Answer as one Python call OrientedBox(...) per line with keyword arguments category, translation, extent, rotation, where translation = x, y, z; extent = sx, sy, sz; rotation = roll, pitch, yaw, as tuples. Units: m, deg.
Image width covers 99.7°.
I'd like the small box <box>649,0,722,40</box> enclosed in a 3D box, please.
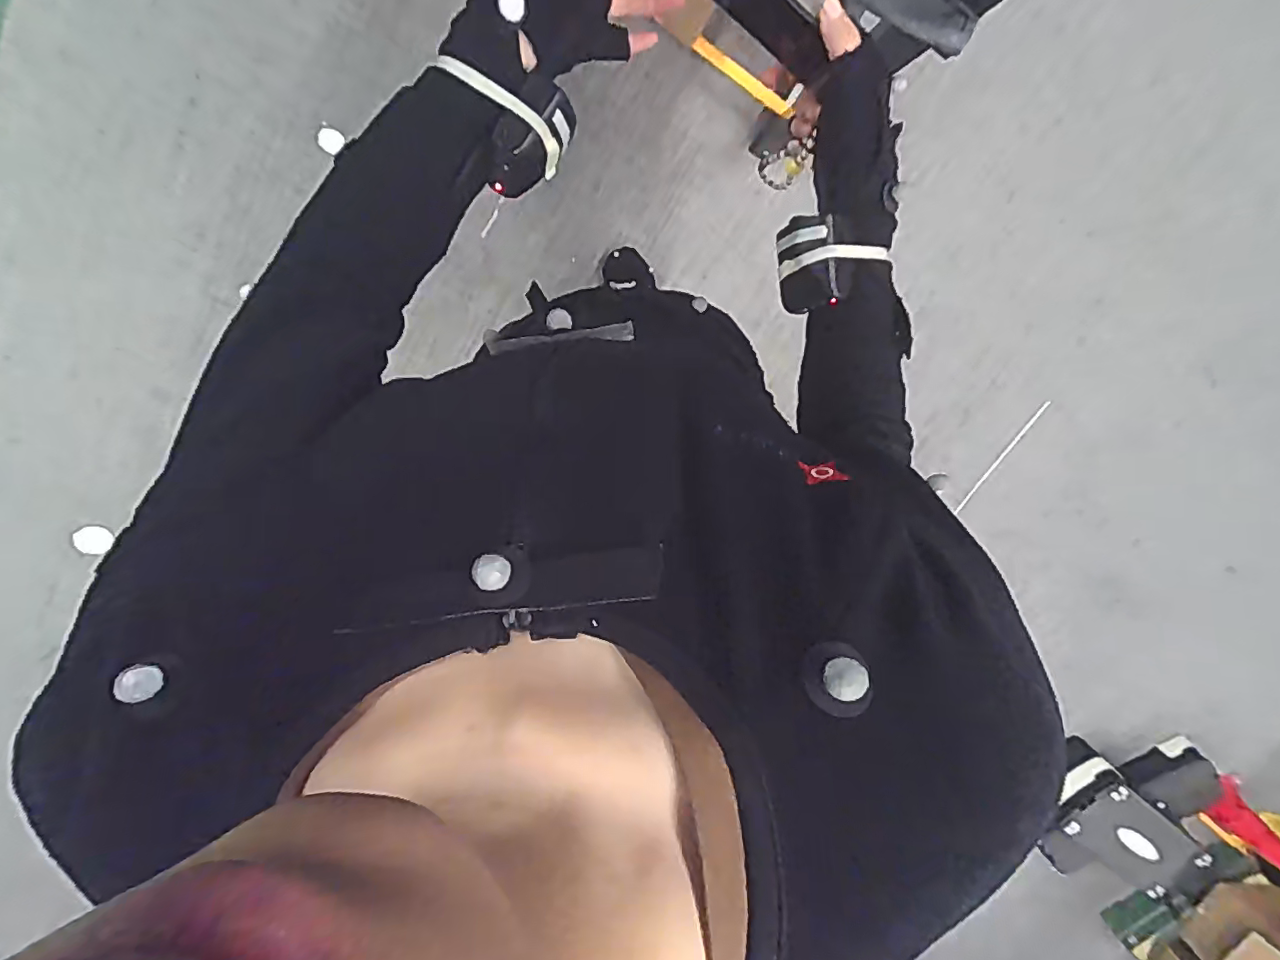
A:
OrientedBox(category="small box", translation=(0.095, -0.954, 0.970), extent=(0.168, 0.176, 0.179), rotation=(32, 106, -14))
